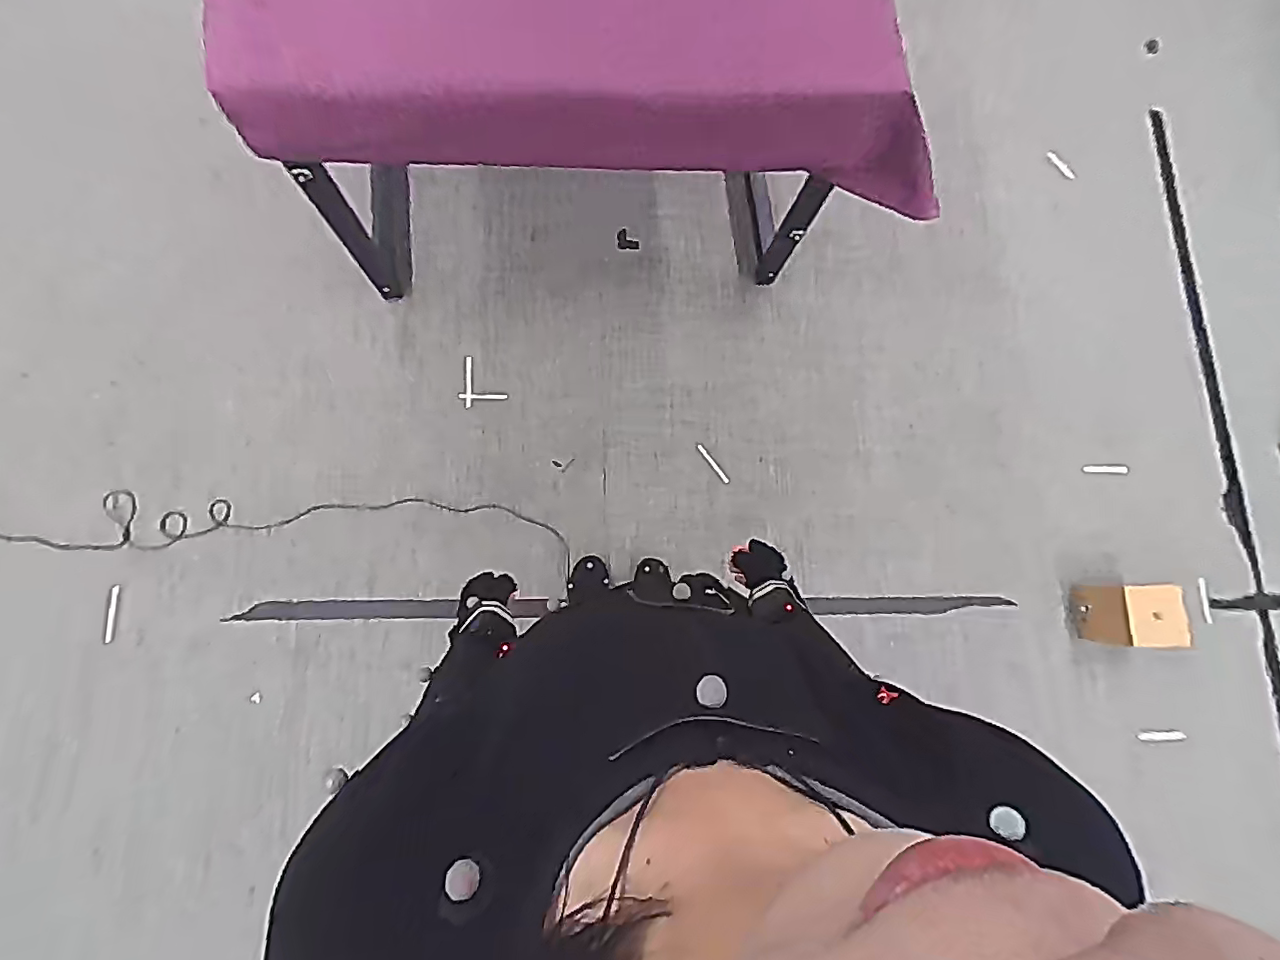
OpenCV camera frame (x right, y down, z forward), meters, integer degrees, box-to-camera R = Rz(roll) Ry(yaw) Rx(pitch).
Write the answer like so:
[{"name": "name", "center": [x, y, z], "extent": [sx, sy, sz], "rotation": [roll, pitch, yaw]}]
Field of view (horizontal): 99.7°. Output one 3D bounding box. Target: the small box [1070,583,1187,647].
[{"name": "small box", "center": [1.403, 0.385, 1.563], "extent": [0.179, 0.176, 0.168], "rotation": [0, 80, -5]}]
